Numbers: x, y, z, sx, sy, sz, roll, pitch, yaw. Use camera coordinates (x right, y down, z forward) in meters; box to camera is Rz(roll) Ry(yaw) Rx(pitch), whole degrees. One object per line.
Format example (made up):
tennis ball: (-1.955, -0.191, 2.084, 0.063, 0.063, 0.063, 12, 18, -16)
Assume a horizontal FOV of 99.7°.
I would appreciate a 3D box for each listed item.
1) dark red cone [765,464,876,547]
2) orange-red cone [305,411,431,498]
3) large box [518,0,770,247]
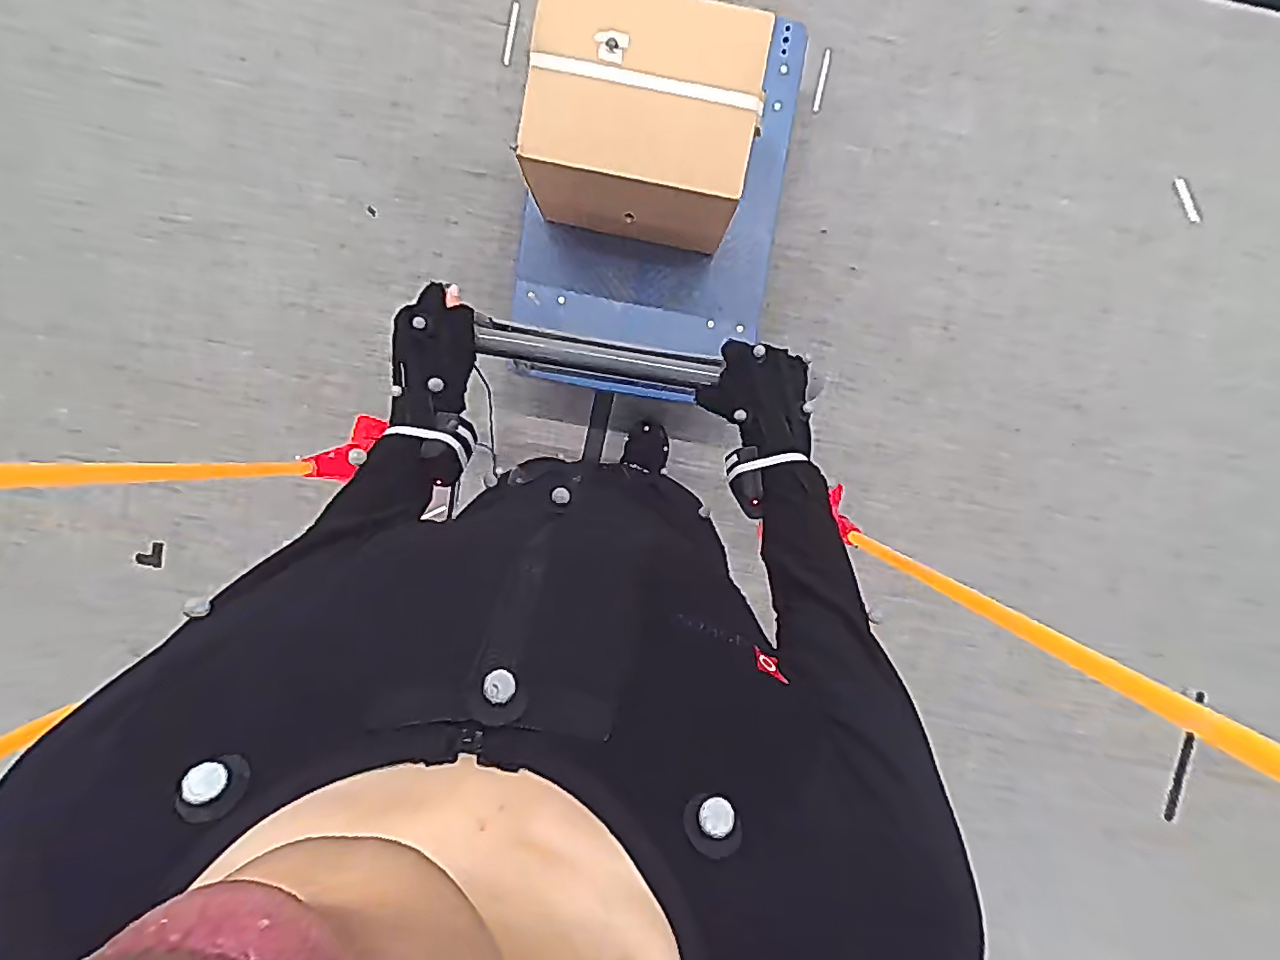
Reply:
dark red cone: (0.450, 0.083, 1.281, 0.201, 0.394, 0.202, 11, 95, -3)
orange-red cone: (-0.676, -0.055, 1.285, 0.198, 0.360, 0.199, 19, 93, -3)
large box: (0.008, -0.698, 1.085, 0.408, 0.320, 0.320, 11, 96, -1)
